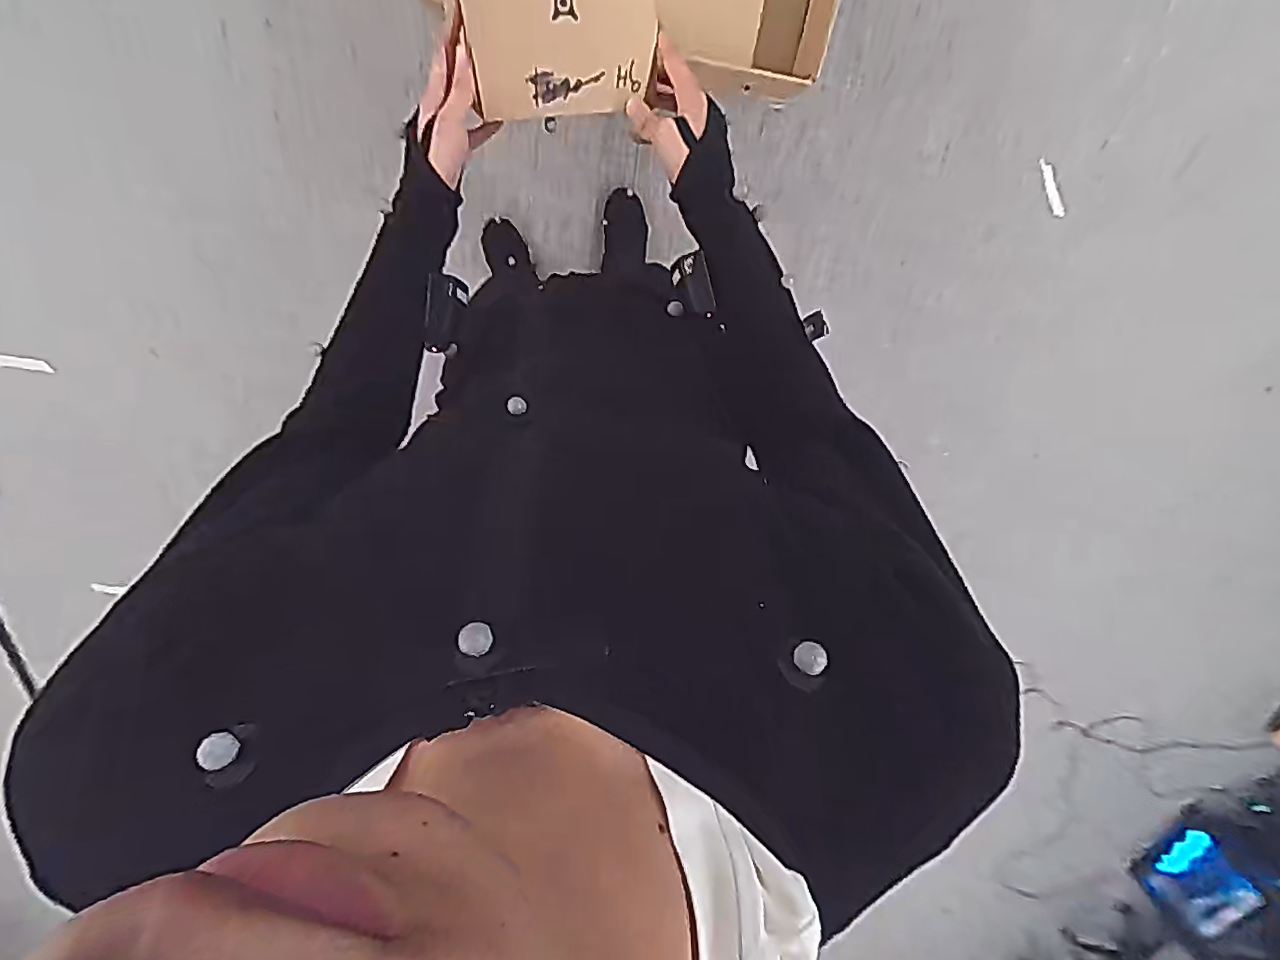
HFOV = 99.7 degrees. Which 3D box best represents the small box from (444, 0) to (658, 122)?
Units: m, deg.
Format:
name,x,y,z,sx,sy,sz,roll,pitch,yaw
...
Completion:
name,x,y,z,sx,sy,sz,roll,pitch,yaw
small box,-0.091,-0.450,0.499,0.168,0.176,0.179,-15,134,-15
